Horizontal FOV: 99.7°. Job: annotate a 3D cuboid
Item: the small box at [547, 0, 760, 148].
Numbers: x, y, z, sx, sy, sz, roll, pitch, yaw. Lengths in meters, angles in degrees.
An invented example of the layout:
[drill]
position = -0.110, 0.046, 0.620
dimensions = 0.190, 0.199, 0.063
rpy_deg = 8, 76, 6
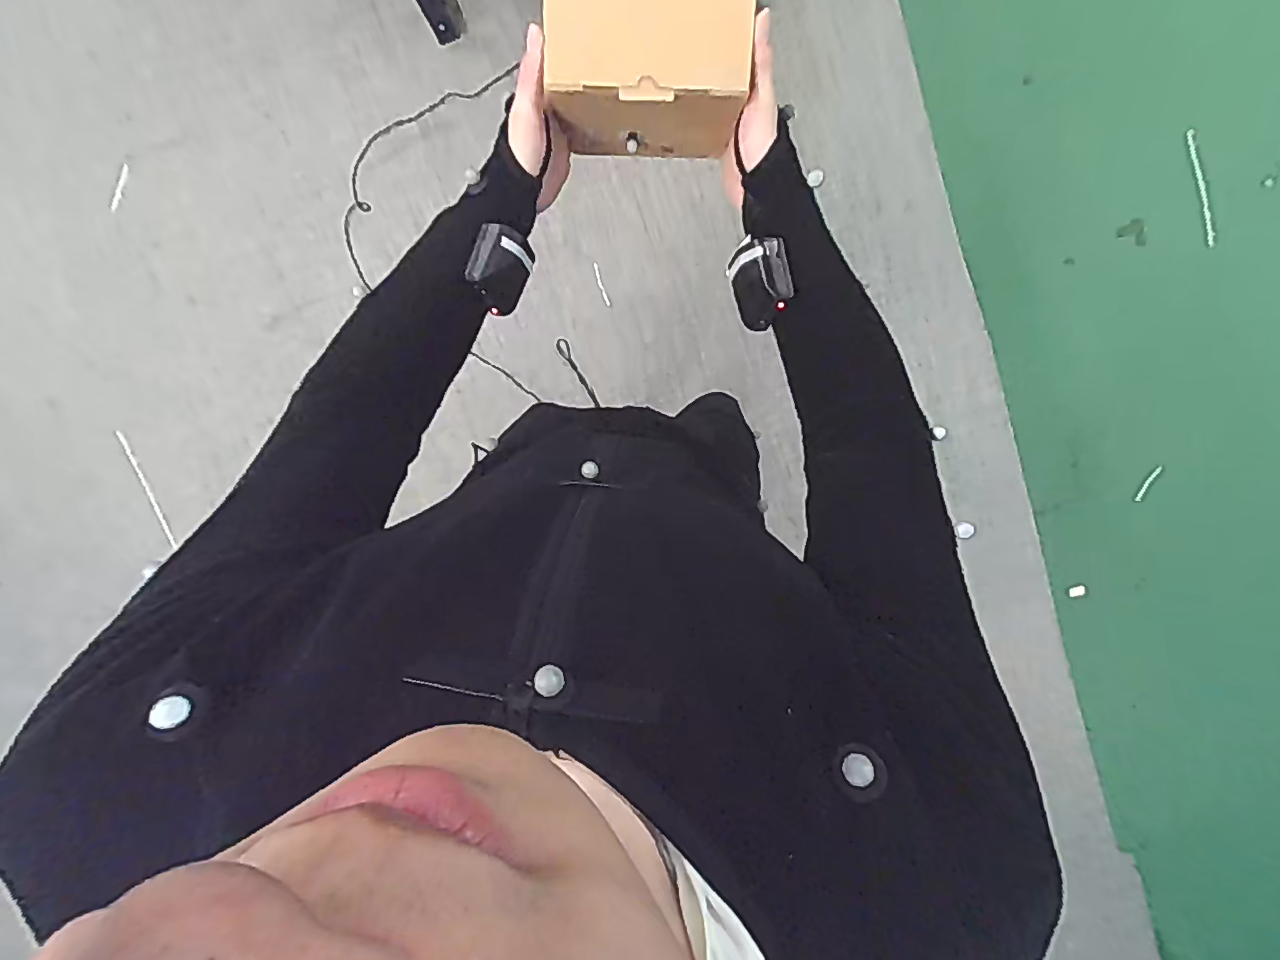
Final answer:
[small box]
position = 0.010, -0.419, 0.478
dimensions = 0.168, 0.176, 0.179
rpy_deg = 1, 107, 0
